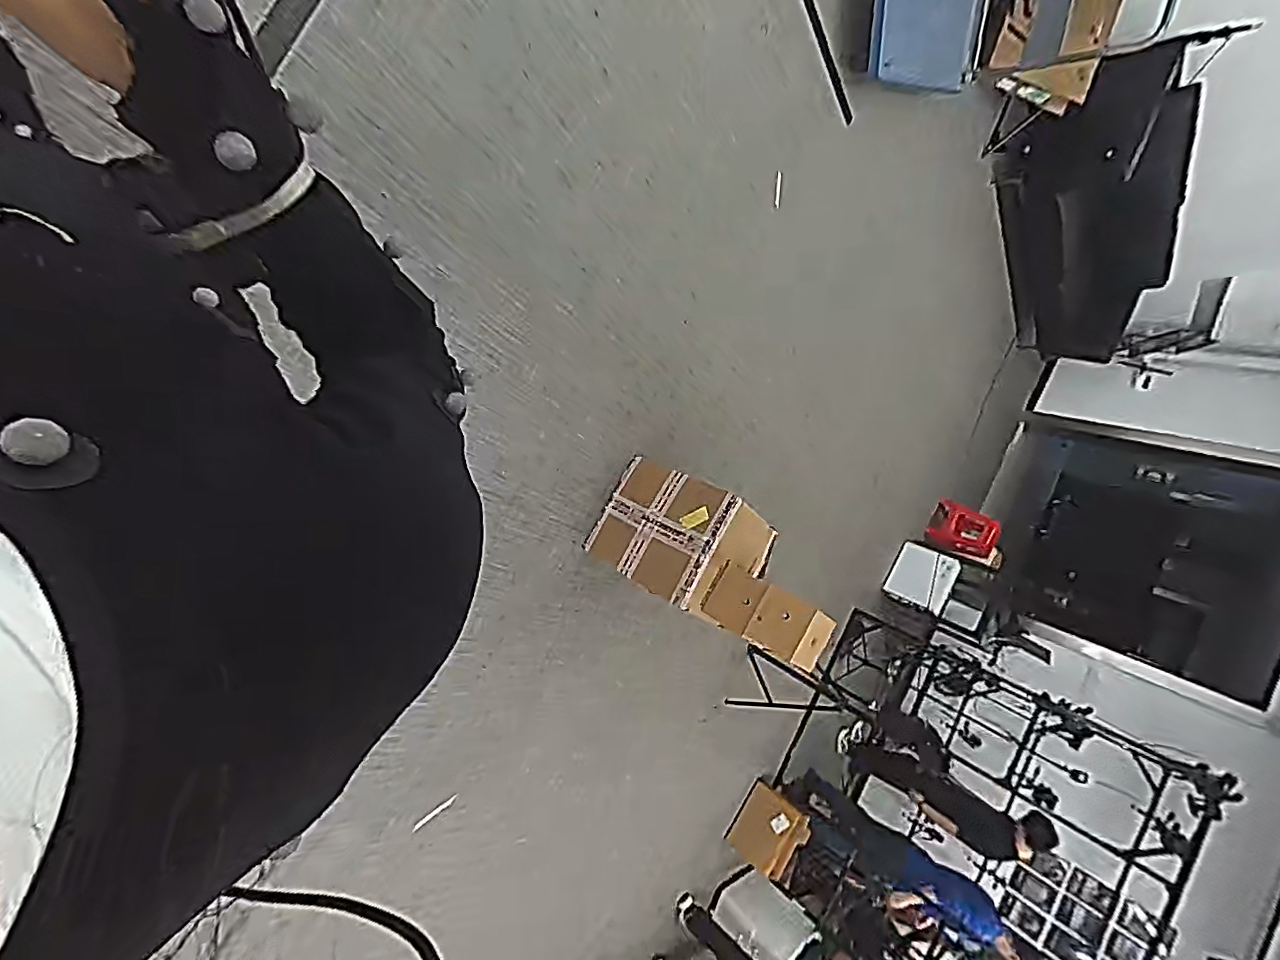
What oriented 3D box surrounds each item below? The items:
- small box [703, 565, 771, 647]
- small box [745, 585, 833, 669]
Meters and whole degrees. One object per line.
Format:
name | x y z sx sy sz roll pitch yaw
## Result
small box | 0.330 0.396 1.717 0.168 0.176 0.179 41 79 -44
small box | 0.438 0.432 1.601 0.179 0.176 0.168 37 81 -46
